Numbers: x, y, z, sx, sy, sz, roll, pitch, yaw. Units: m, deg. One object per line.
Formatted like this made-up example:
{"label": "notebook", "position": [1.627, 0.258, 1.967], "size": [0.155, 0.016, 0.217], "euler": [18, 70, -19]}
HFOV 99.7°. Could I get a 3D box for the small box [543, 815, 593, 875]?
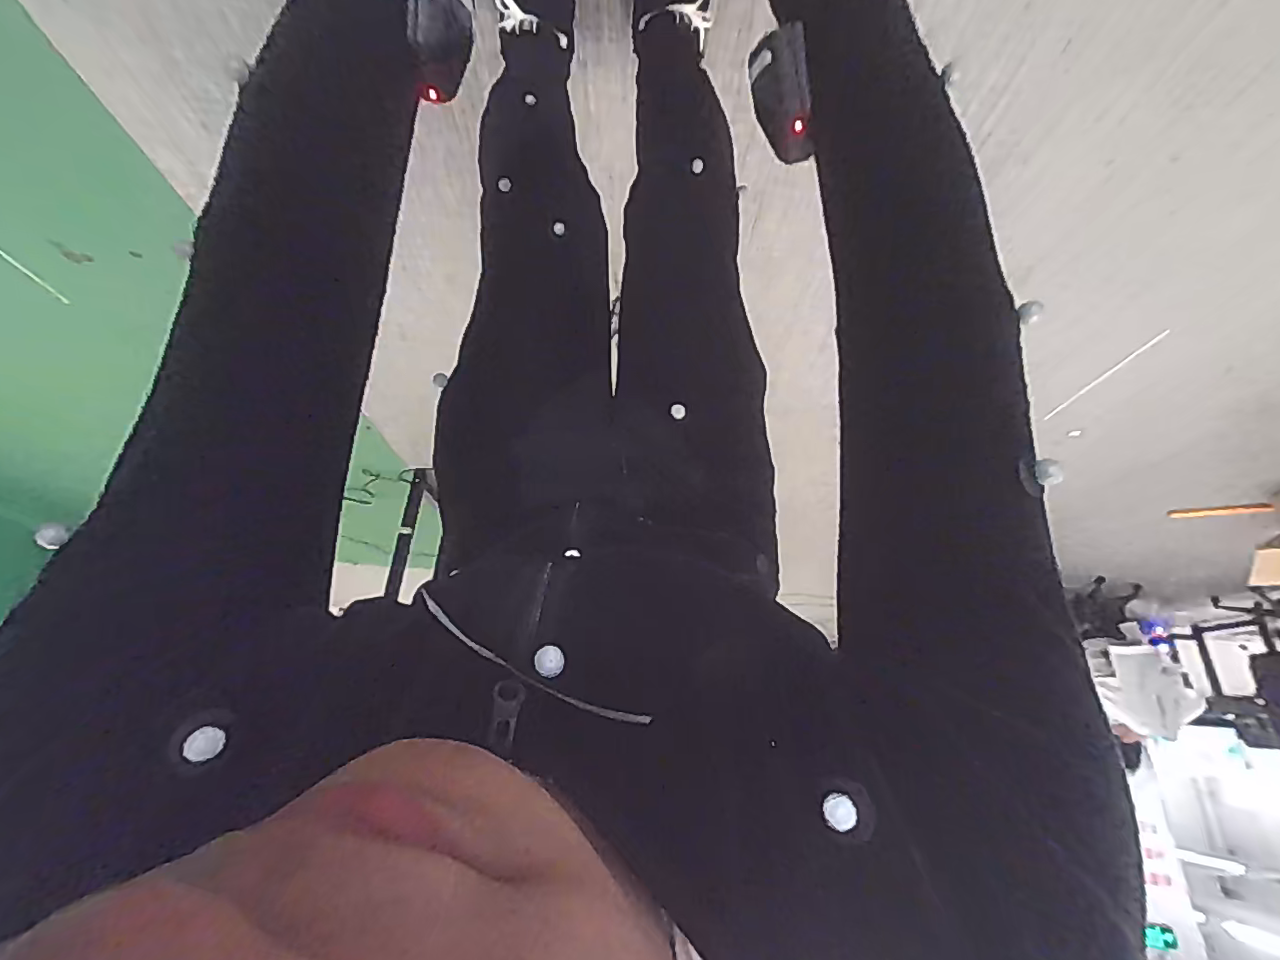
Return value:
{"label": "small box", "position": [-0.286, 1.470, 2.185], "size": [0.179, 0.176, 0.168], "euler": [3, 156, 3]}
